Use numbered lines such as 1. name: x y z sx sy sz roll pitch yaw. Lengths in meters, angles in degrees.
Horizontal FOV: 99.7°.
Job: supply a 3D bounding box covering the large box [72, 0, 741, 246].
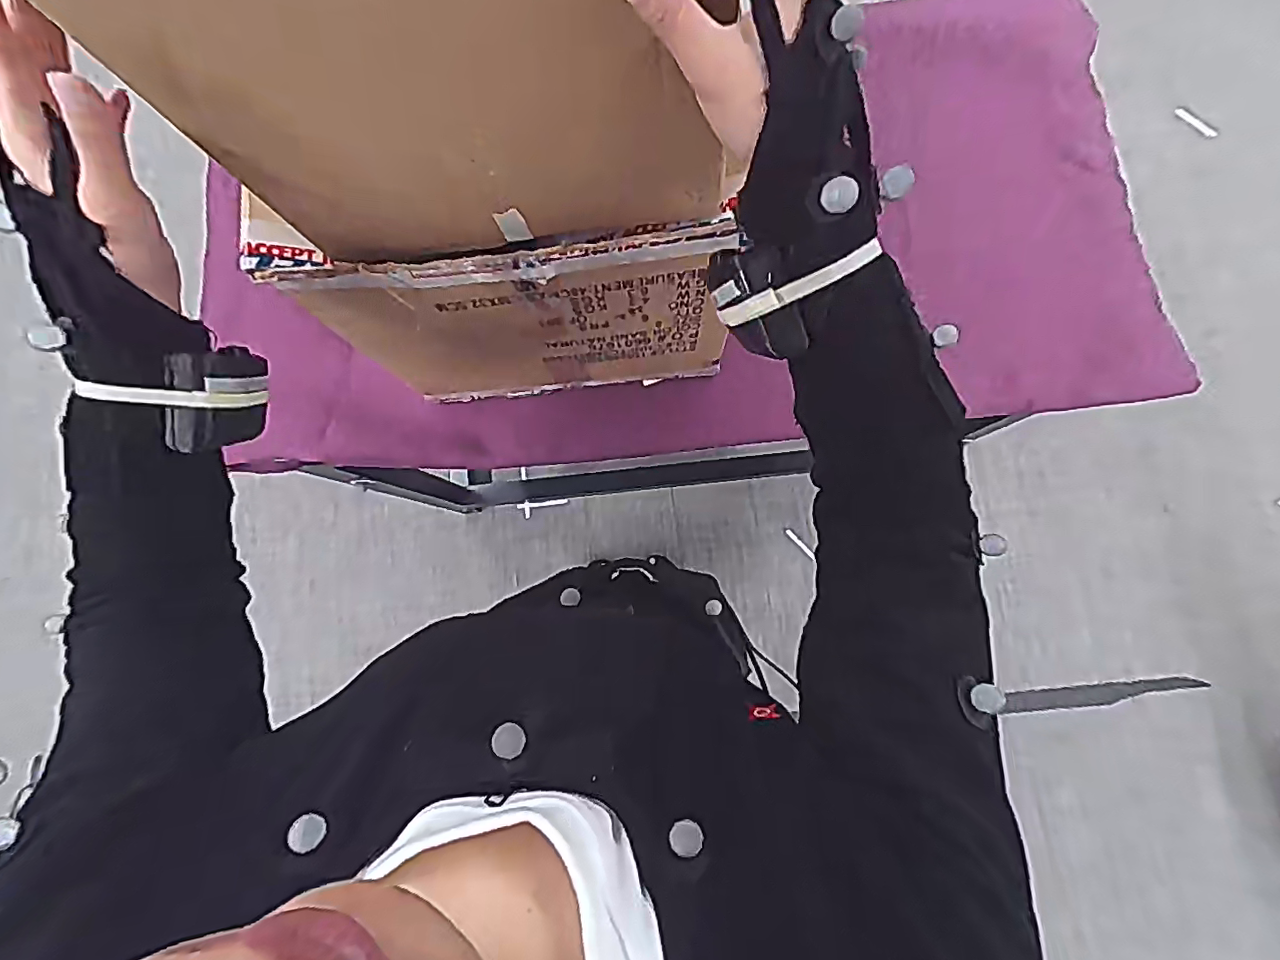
1. large box: -0.118 -0.412 0.300 0.320 0.320 0.408 -6 81 6
